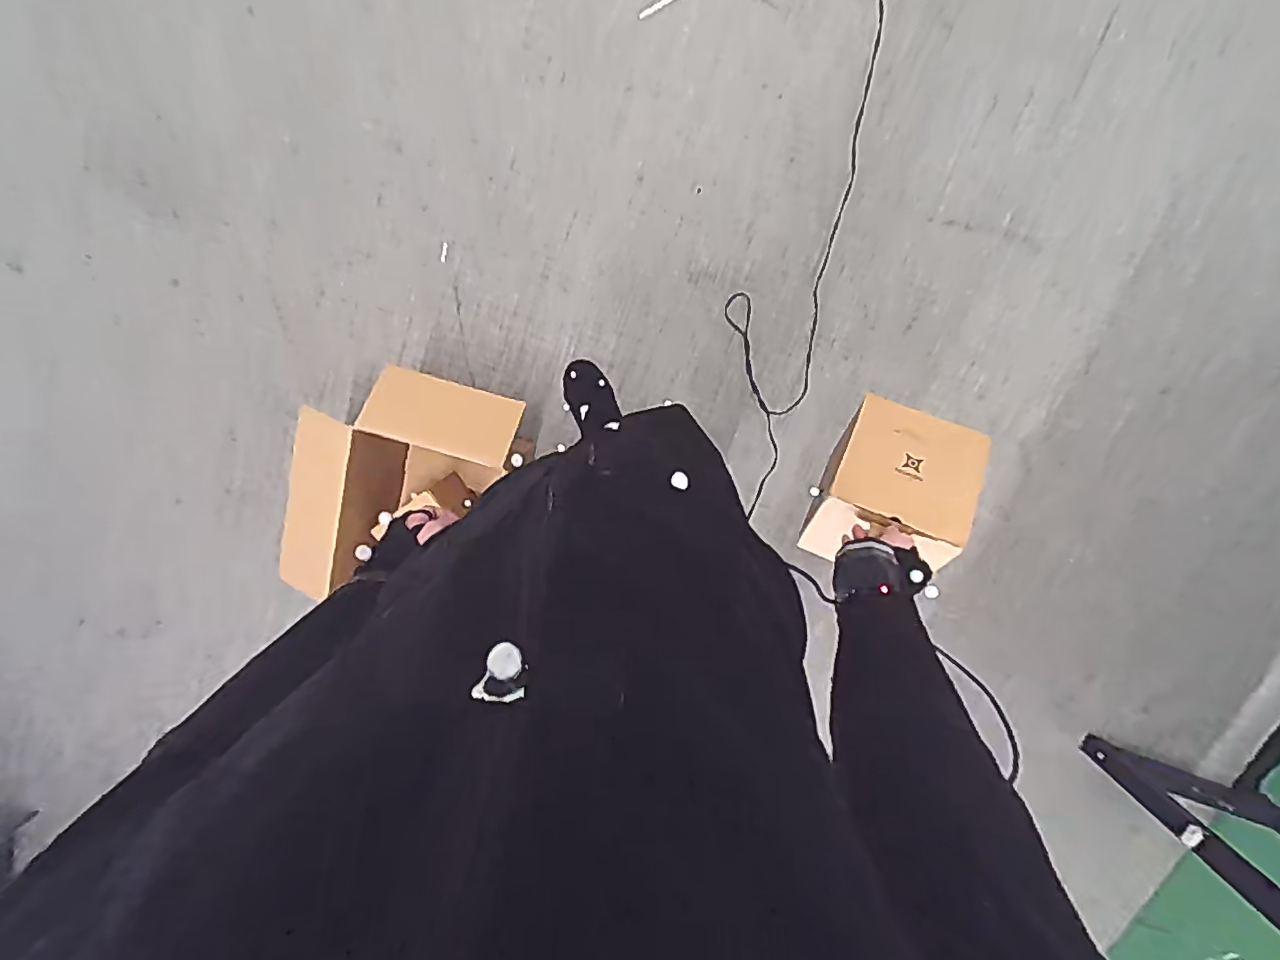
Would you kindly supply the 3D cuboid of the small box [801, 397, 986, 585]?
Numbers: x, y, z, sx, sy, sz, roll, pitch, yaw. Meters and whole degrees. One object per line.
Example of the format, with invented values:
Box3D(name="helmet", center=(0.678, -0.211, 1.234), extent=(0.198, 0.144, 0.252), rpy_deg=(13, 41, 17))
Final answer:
Box3D(name="small box", center=(0.340, 0.023, 0.753), extent=(0.168, 0.176, 0.179), rpy_deg=(23, 64, 12))
